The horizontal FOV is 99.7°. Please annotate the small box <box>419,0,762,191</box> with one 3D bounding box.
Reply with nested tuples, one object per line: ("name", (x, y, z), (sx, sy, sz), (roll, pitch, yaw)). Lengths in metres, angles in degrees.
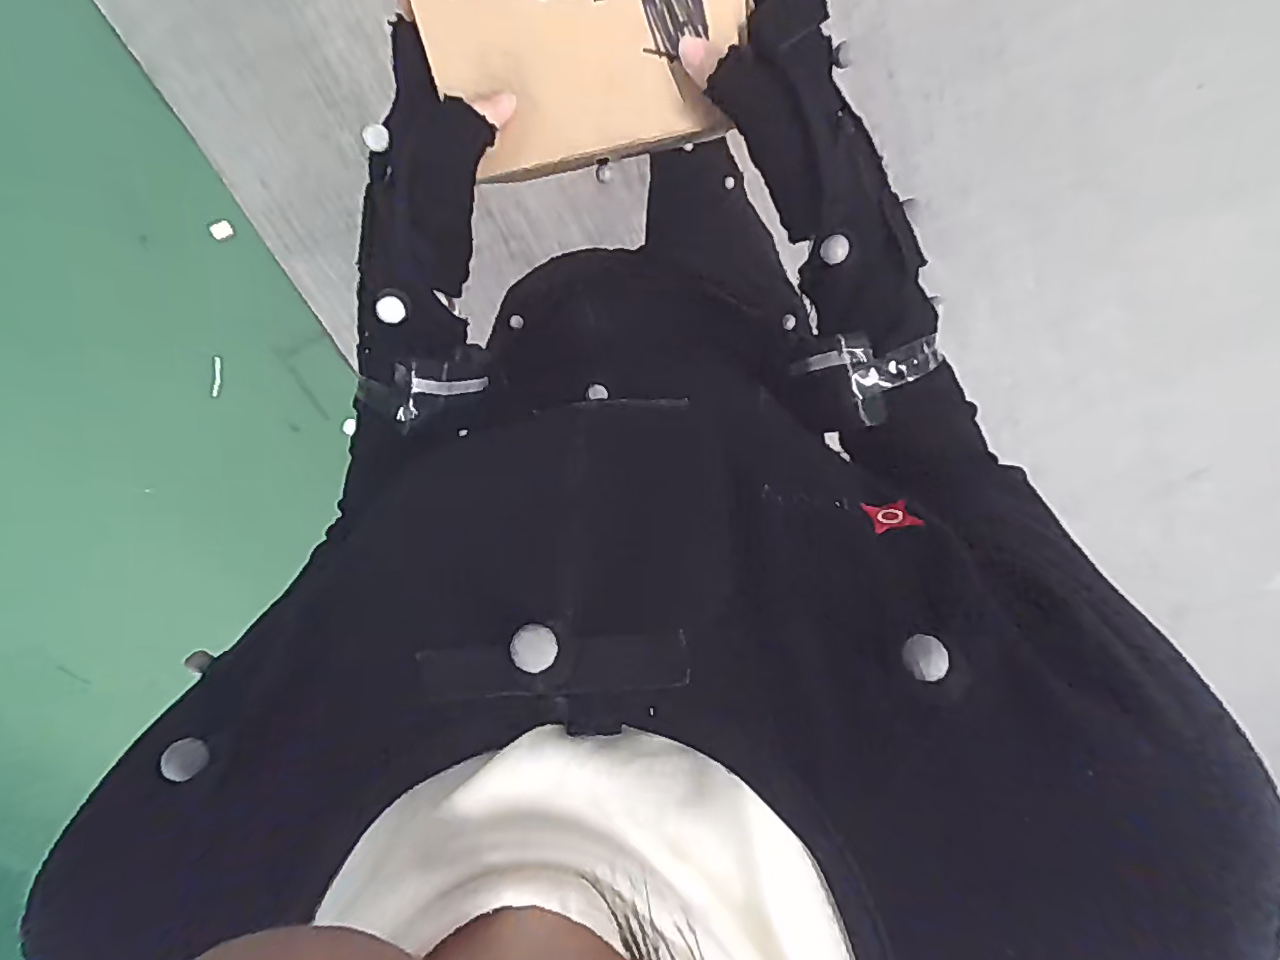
("small box", (-0.034, -0.303, 0.353), (0.179, 0.176, 0.168), (-14, 118, 6))
